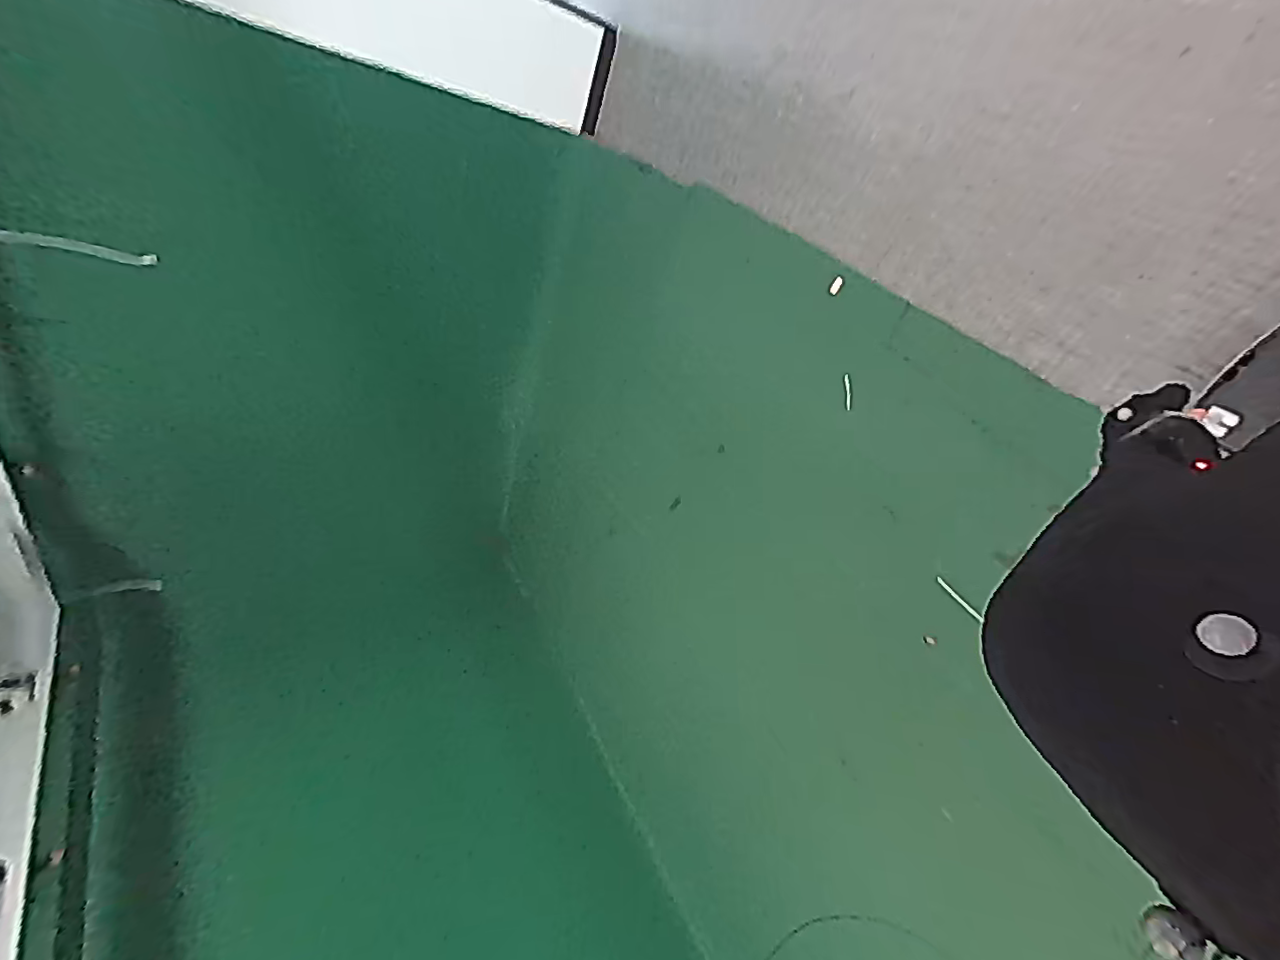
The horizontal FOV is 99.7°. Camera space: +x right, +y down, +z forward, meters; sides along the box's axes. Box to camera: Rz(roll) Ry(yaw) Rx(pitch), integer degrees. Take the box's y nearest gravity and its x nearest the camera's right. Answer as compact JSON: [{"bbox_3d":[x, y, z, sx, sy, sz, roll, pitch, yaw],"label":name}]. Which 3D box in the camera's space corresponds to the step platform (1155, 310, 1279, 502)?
[{"bbox_3d":[1.220,0.015,0.789,0.684,0.204,0.286,49,130,35],"label":"step platform"}]
